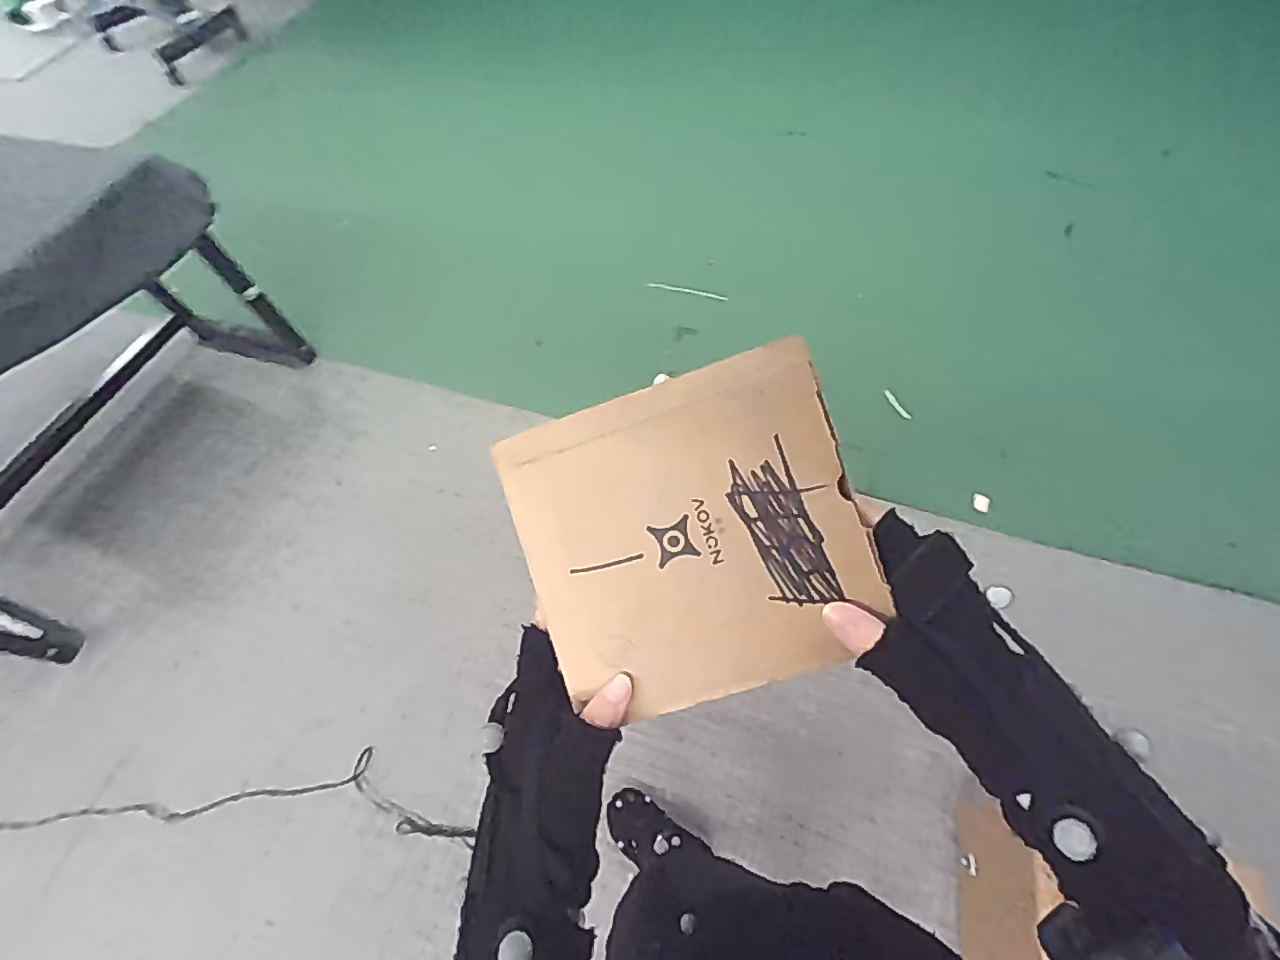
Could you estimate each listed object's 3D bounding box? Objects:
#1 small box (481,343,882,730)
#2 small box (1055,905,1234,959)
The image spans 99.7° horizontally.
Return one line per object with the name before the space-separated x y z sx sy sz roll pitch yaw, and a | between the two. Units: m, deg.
small box | 0.025 0.031 0.363 0.179 0.176 0.168 -19 87 5
small box | 0.665 0.685 0.691 0.168 0.176 0.179 12 63 16
